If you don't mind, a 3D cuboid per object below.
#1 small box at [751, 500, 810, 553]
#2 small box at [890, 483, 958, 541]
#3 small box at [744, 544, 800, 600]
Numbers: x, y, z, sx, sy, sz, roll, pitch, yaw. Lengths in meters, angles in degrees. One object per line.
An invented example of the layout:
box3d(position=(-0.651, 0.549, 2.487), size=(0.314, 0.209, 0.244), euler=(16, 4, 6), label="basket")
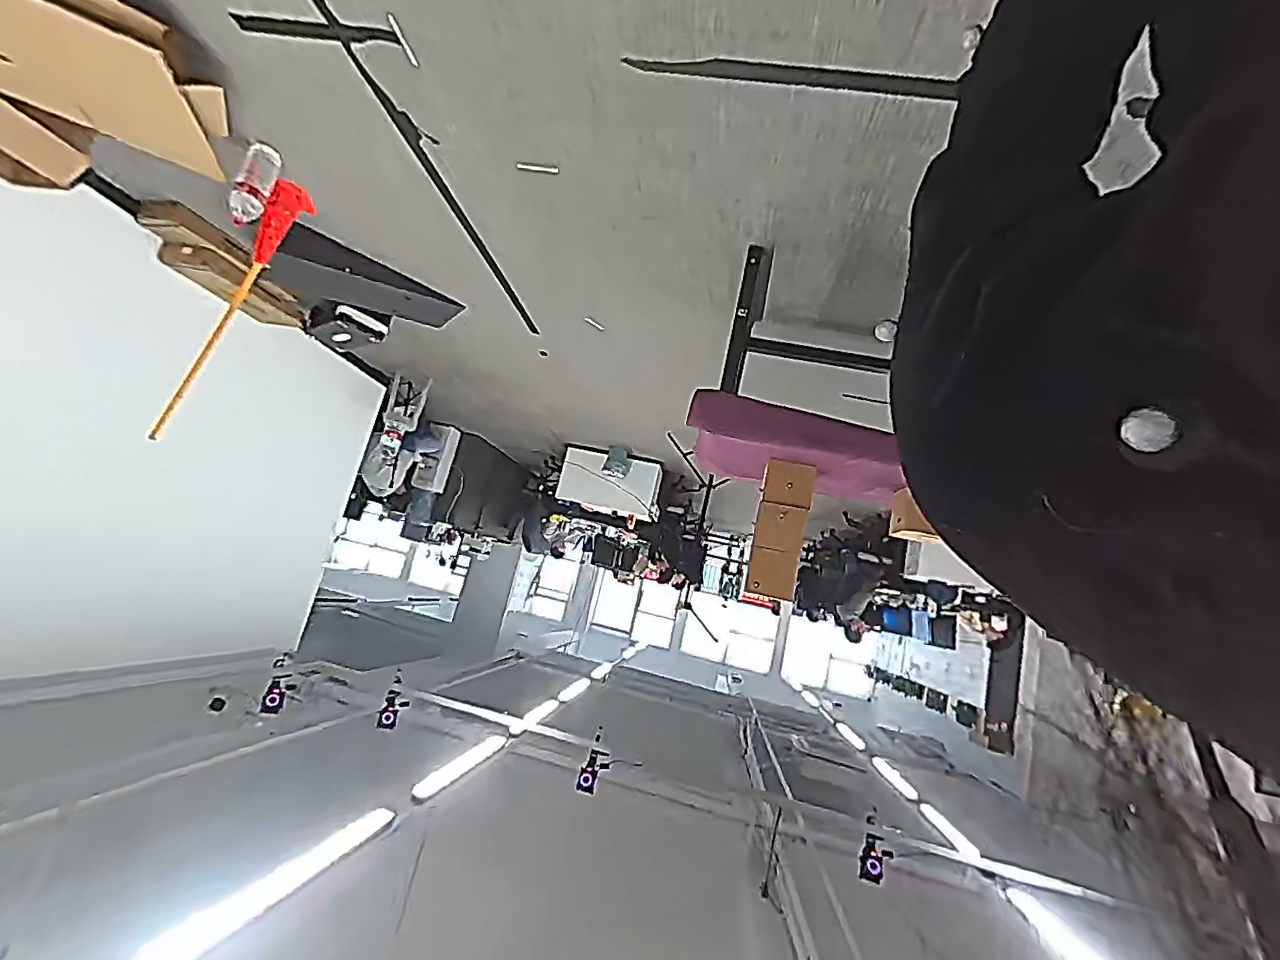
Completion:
box3d(position=(0.512, 0.174, 1.983), size=(0.179, 0.176, 0.168), euler=(11, 170, 14), label="small box")
box3d(position=(1.020, 0.115, 1.941), size=(0.168, 0.176, 0.179), euler=(12, 170, 9), label="small box")
box3d(position=(0.478, 0.333, 1.962), size=(0.179, 0.176, 0.168), euler=(10, 169, 13), label="small box")
